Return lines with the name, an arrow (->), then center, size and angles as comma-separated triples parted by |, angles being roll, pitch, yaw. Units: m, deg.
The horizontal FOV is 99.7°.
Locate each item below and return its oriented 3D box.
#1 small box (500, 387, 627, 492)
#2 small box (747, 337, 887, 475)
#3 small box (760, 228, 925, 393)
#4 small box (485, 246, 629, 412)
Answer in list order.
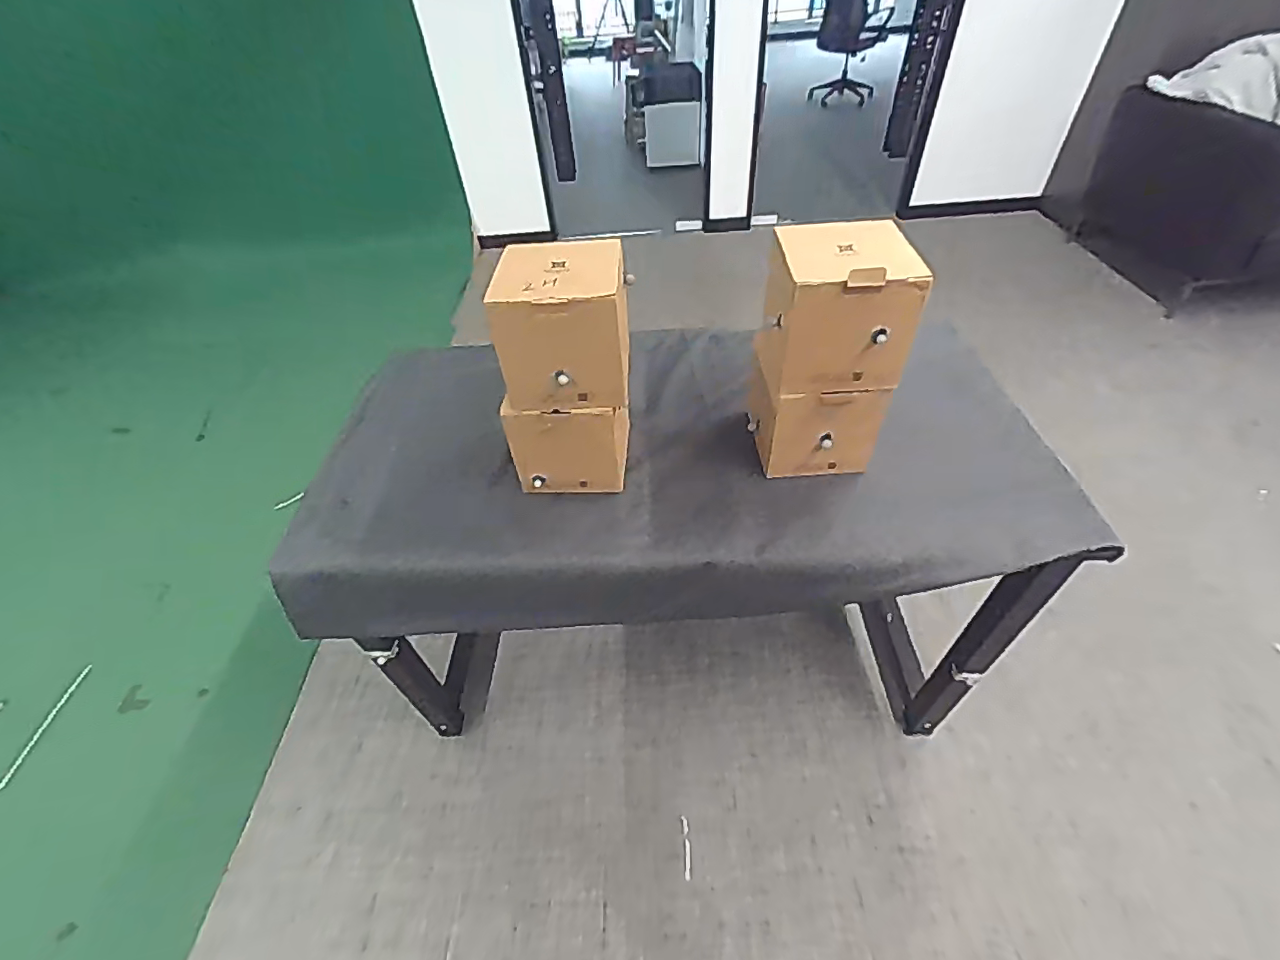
small box -> -0.111, -0.093, 0.886 | 0.168, 0.176, 0.179 | 0, 44, 4
small box -> 0.274, -0.121, 0.881 | 0.168, 0.176, 0.179 | -4, 46, 1
small box -> 0.269, -0.236, 0.765 | 0.168, 0.176, 0.179 | -1, 44, 3
small box -> -0.105, -0.216, 0.775 | 0.168, 0.176, 0.179 | -3, 45, 3
